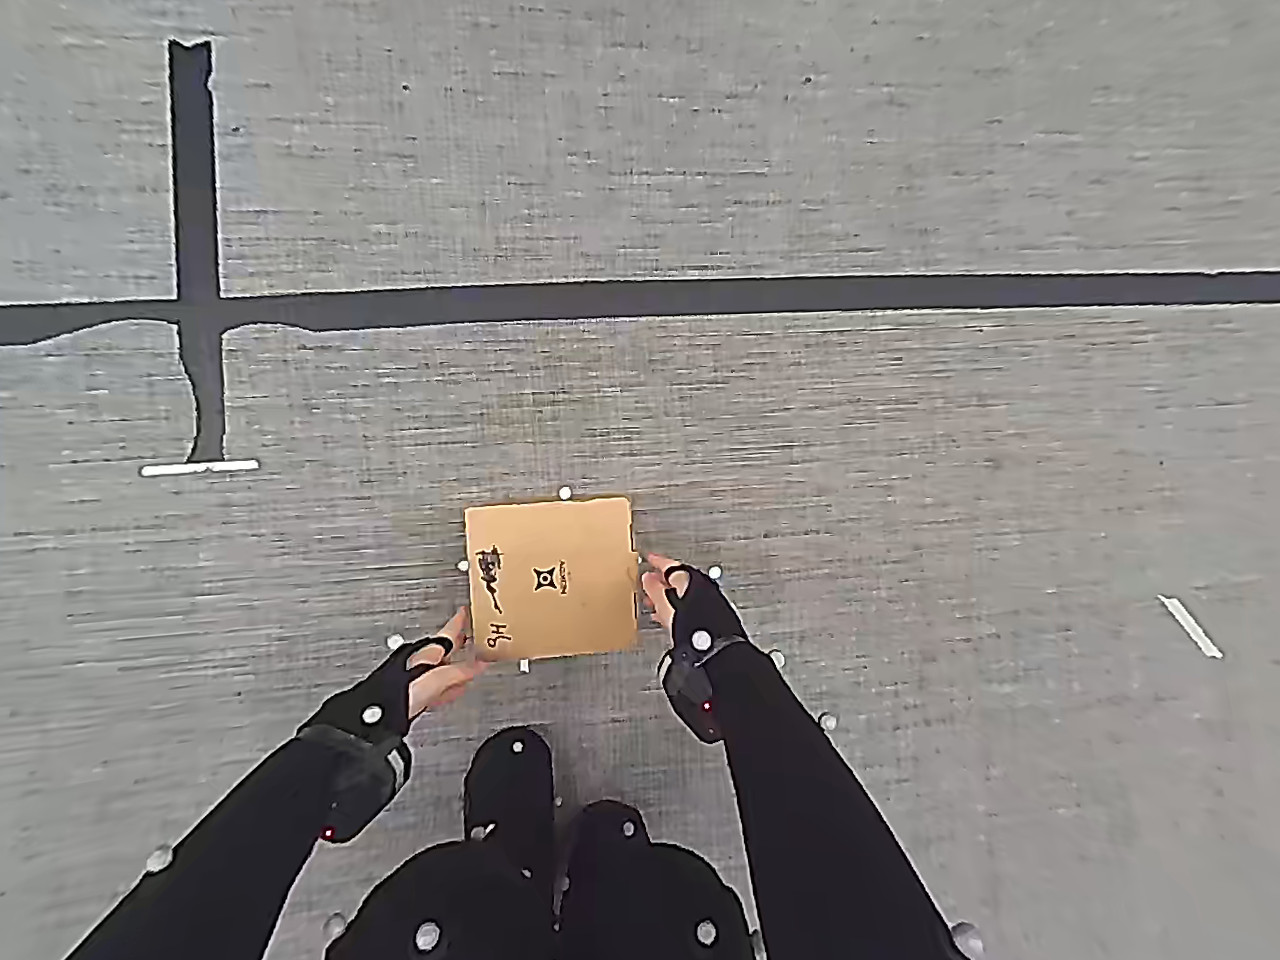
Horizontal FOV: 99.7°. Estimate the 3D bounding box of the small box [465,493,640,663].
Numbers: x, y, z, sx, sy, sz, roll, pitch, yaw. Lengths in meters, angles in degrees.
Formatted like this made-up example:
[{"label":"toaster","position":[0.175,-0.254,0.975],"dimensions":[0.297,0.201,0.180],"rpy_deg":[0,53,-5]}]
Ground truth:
[{"label":"small box","position":[-0.100,0.102,0.642],"dimensions":[0.179,0.176,0.168],"rpy_deg":[-3,90,-7]}]
